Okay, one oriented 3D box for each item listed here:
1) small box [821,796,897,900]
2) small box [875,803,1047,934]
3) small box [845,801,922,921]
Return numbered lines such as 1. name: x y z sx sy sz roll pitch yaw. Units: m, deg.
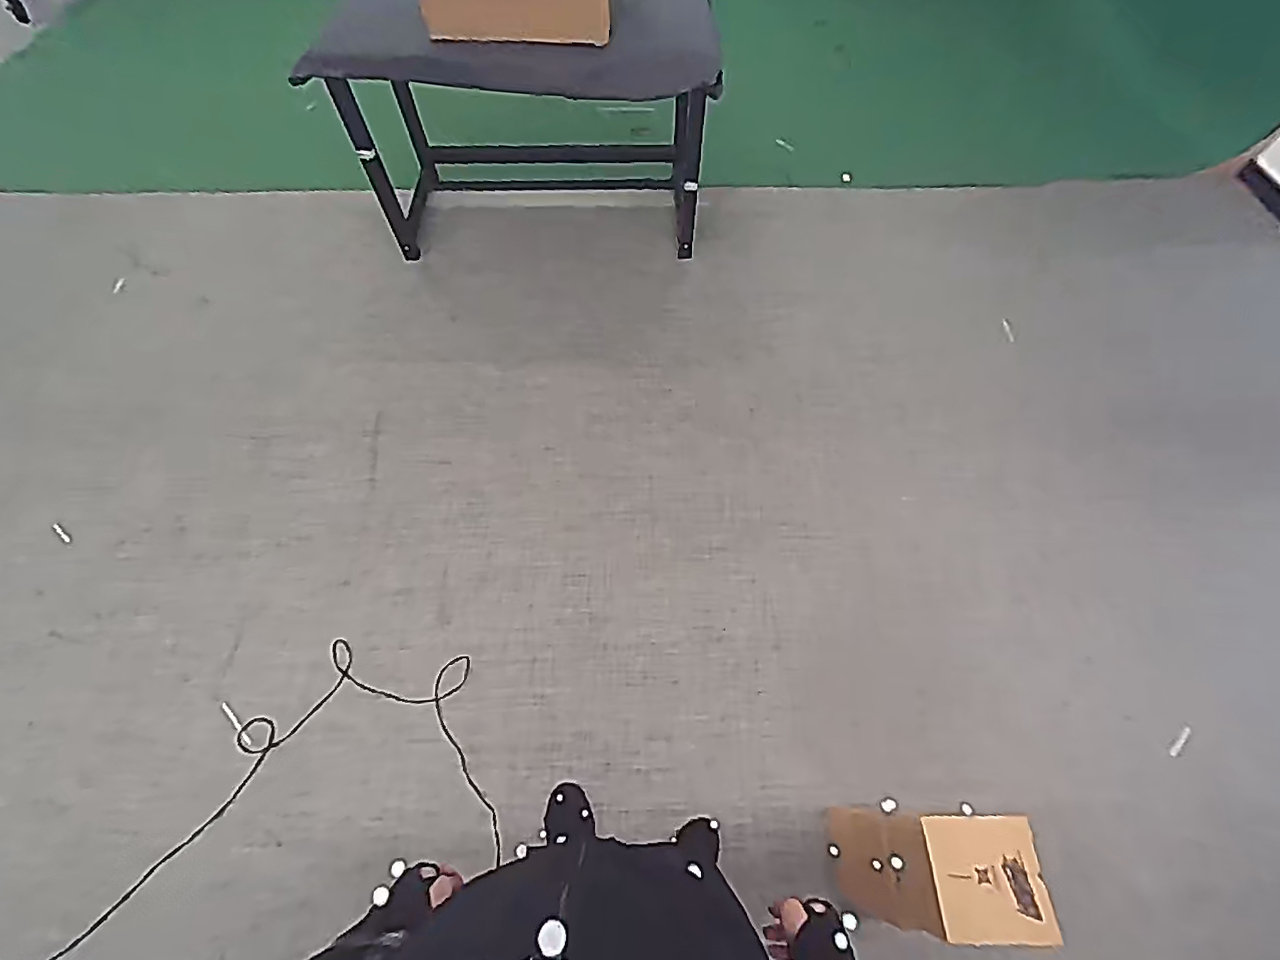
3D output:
1. small box: 0.521 0.817 1.212 0.168 0.176 0.179 1 62 -1
2. small box: 0.534 0.654 0.928 0.179 0.176 0.168 0 61 0
3. small box: 0.525 0.741 1.070 0.168 0.176 0.179 -1 64 -1
